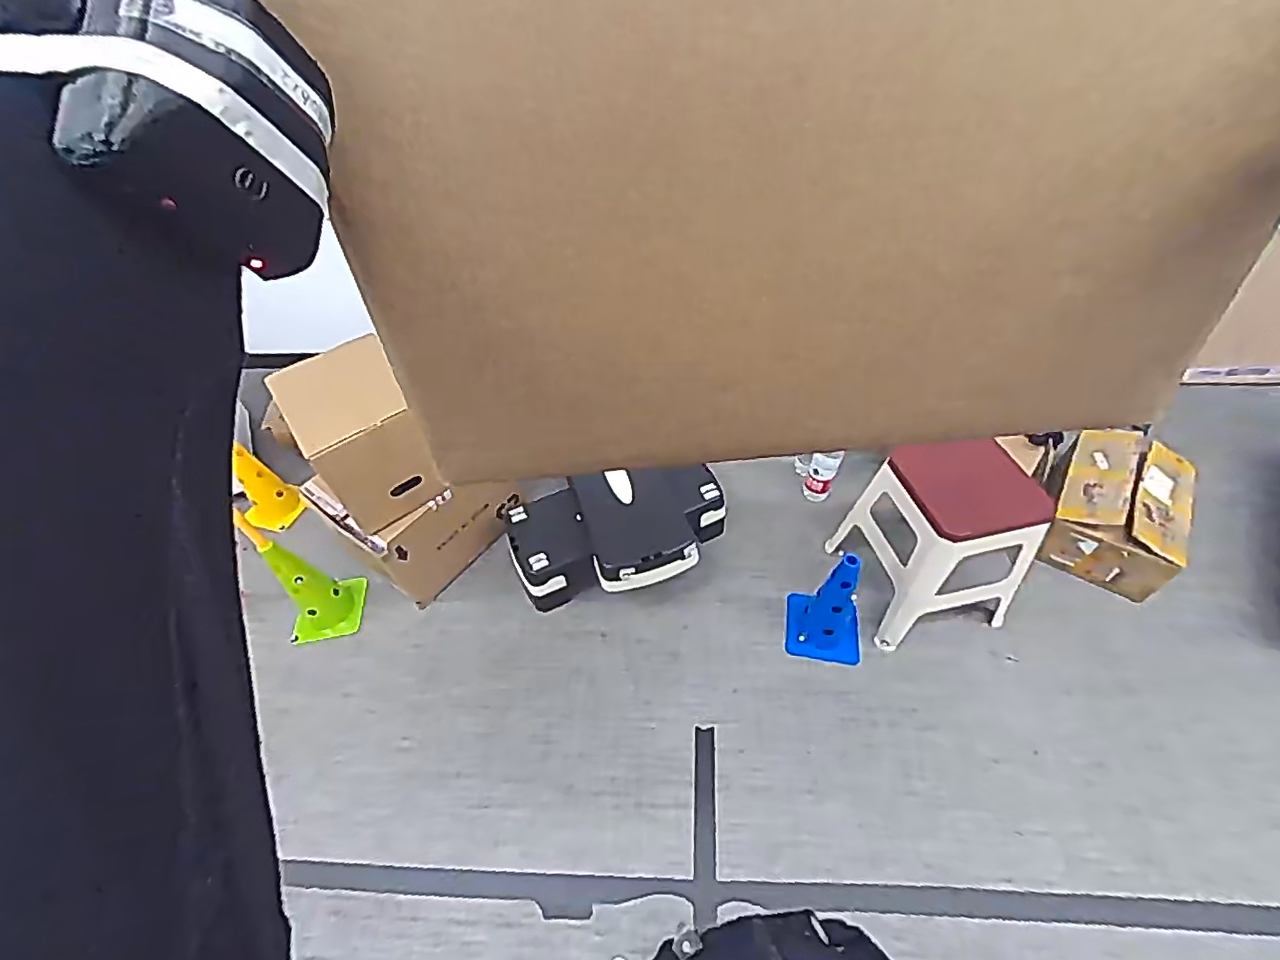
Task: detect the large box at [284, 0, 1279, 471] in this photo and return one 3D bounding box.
[{"bbox_3d":[0.066,-0.229,0.336,0.408,0.320,0.320,-5,40,-1],"label":"large box"}]
